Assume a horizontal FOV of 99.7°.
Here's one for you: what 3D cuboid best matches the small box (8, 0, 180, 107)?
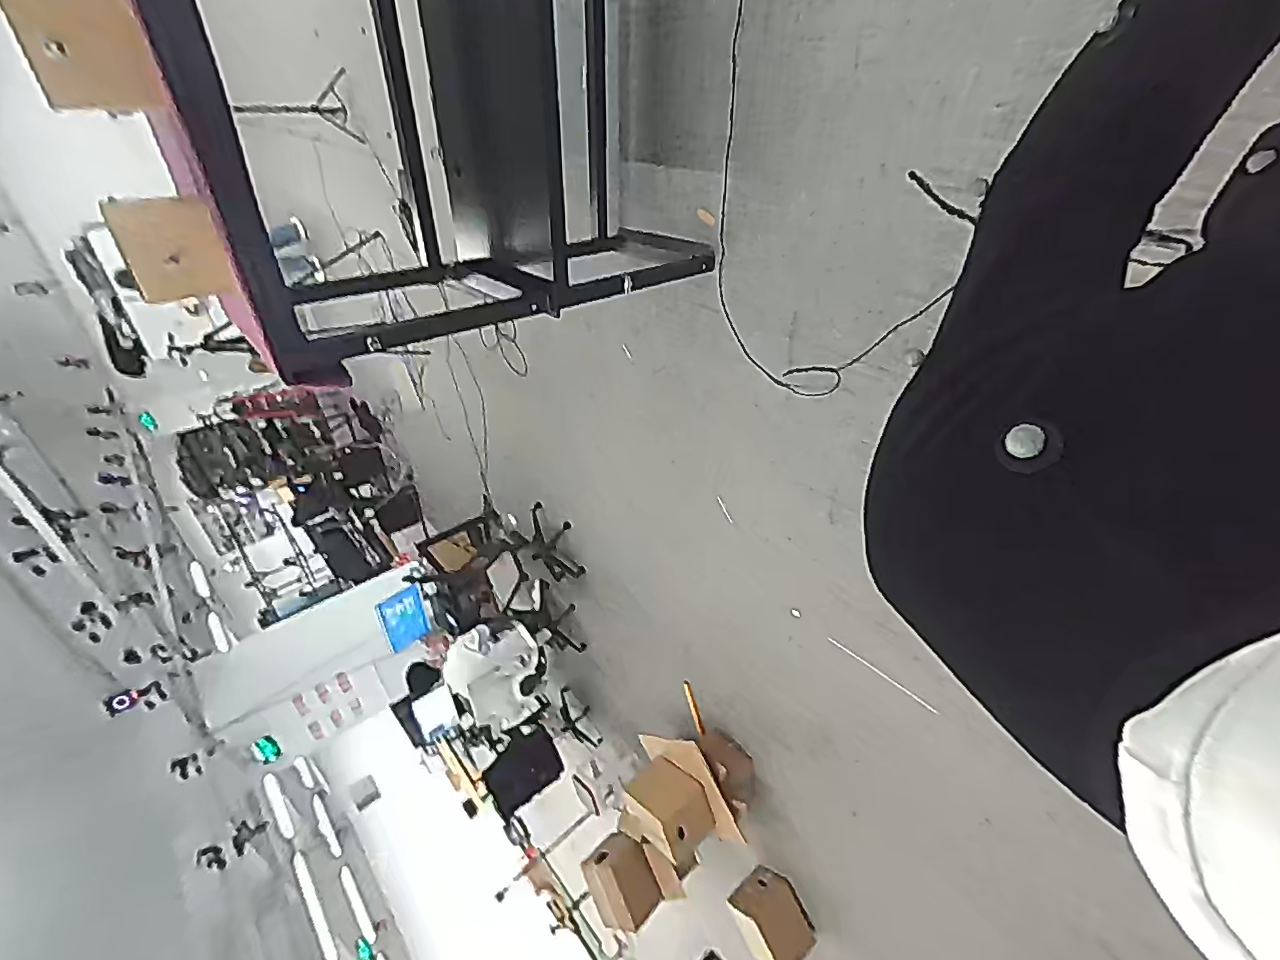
[{"bbox_3d":[-0.935,-0.750,0.931,0.168,0.176,0.179,33,136,38],"label":"small box"}]

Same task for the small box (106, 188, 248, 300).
[{"bbox_3d":[-0.942,-0.490,1.111,0.168,0.176,0.179,32,136,39],"label":"small box"}]
